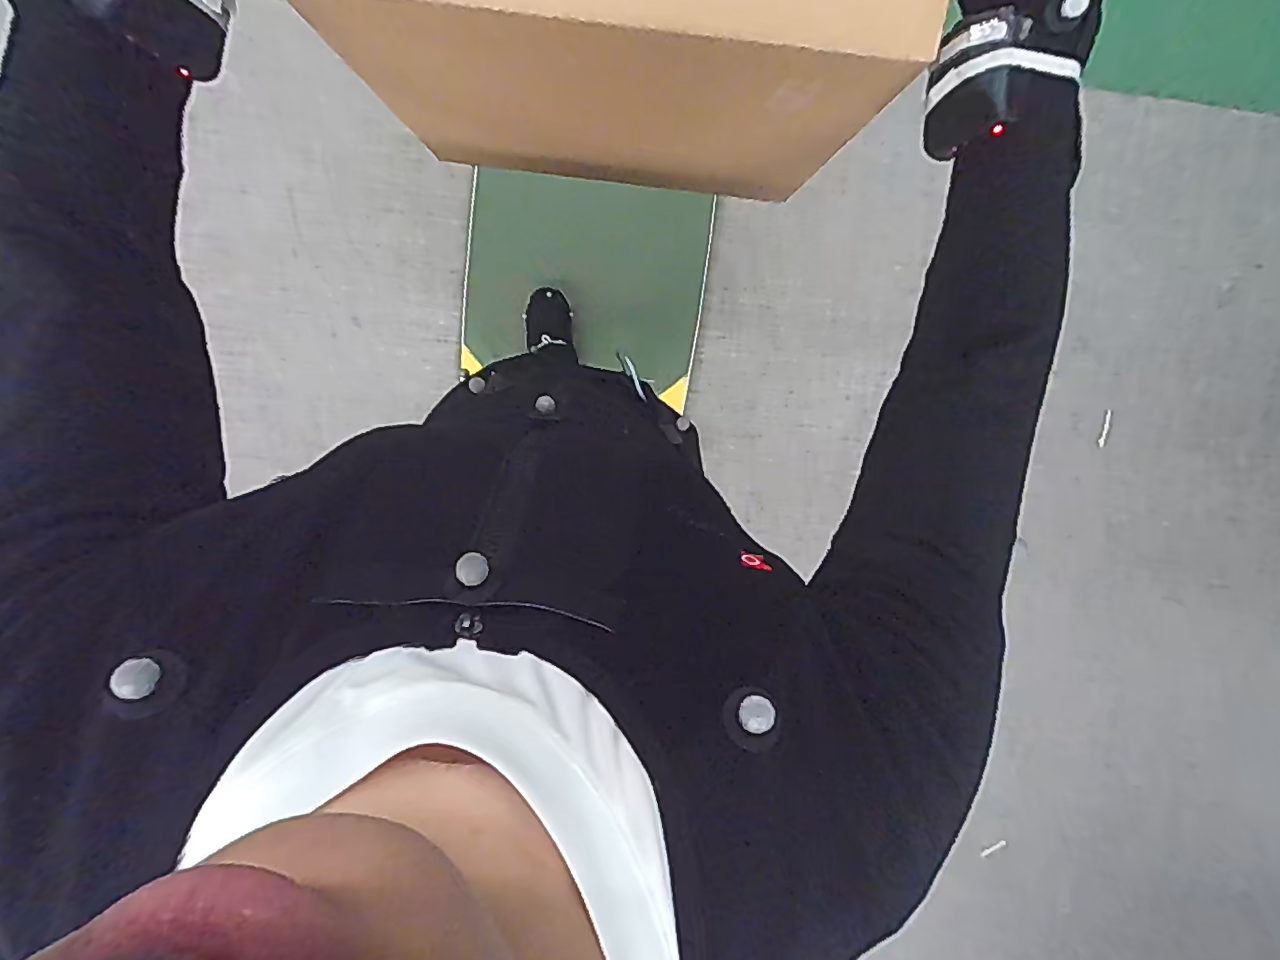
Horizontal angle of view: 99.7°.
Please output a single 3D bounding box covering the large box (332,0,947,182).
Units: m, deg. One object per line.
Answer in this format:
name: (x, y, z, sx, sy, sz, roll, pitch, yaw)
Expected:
large box: (-0.003, -0.471, 0.443, 0.408, 0.320, 0.320, 4, 104, -4)
